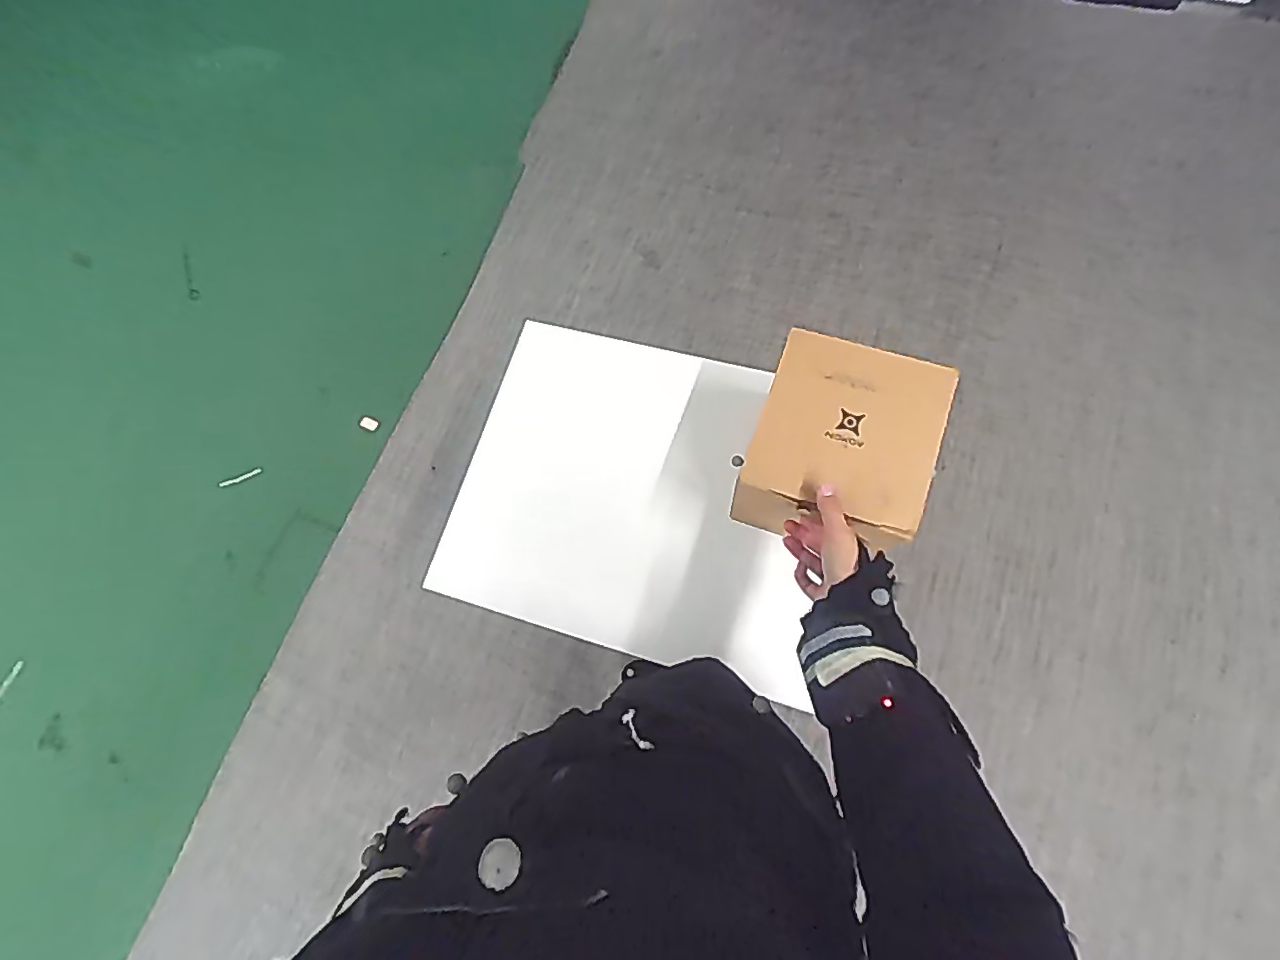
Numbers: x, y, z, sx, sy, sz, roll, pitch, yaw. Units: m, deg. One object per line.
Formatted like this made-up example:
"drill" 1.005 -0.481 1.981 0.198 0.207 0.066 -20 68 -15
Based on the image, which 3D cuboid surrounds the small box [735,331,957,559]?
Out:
"small box" 0.207 -0.026 0.590 0.168 0.176 0.179 19 76 11
